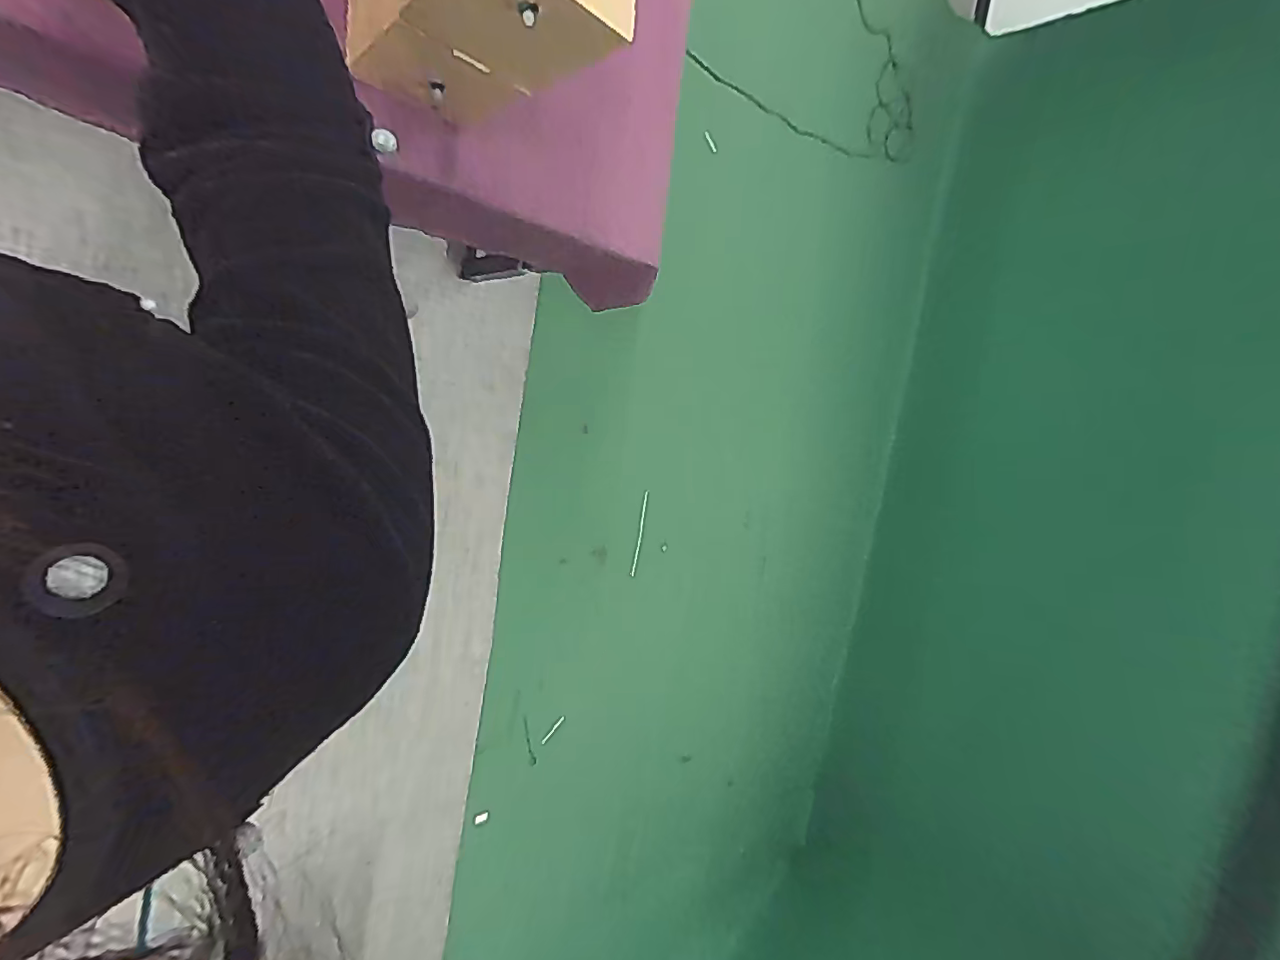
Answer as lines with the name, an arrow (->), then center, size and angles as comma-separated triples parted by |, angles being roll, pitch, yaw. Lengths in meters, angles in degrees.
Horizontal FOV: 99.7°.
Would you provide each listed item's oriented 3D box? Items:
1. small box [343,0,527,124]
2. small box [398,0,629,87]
small box -> -0.242, -0.569, 0.652 | 0.168, 0.176, 0.179 | -2, 102, -46
small box -> -0.125, -0.536, 0.540 | 0.179, 0.176, 0.168 | -3, 103, -45
